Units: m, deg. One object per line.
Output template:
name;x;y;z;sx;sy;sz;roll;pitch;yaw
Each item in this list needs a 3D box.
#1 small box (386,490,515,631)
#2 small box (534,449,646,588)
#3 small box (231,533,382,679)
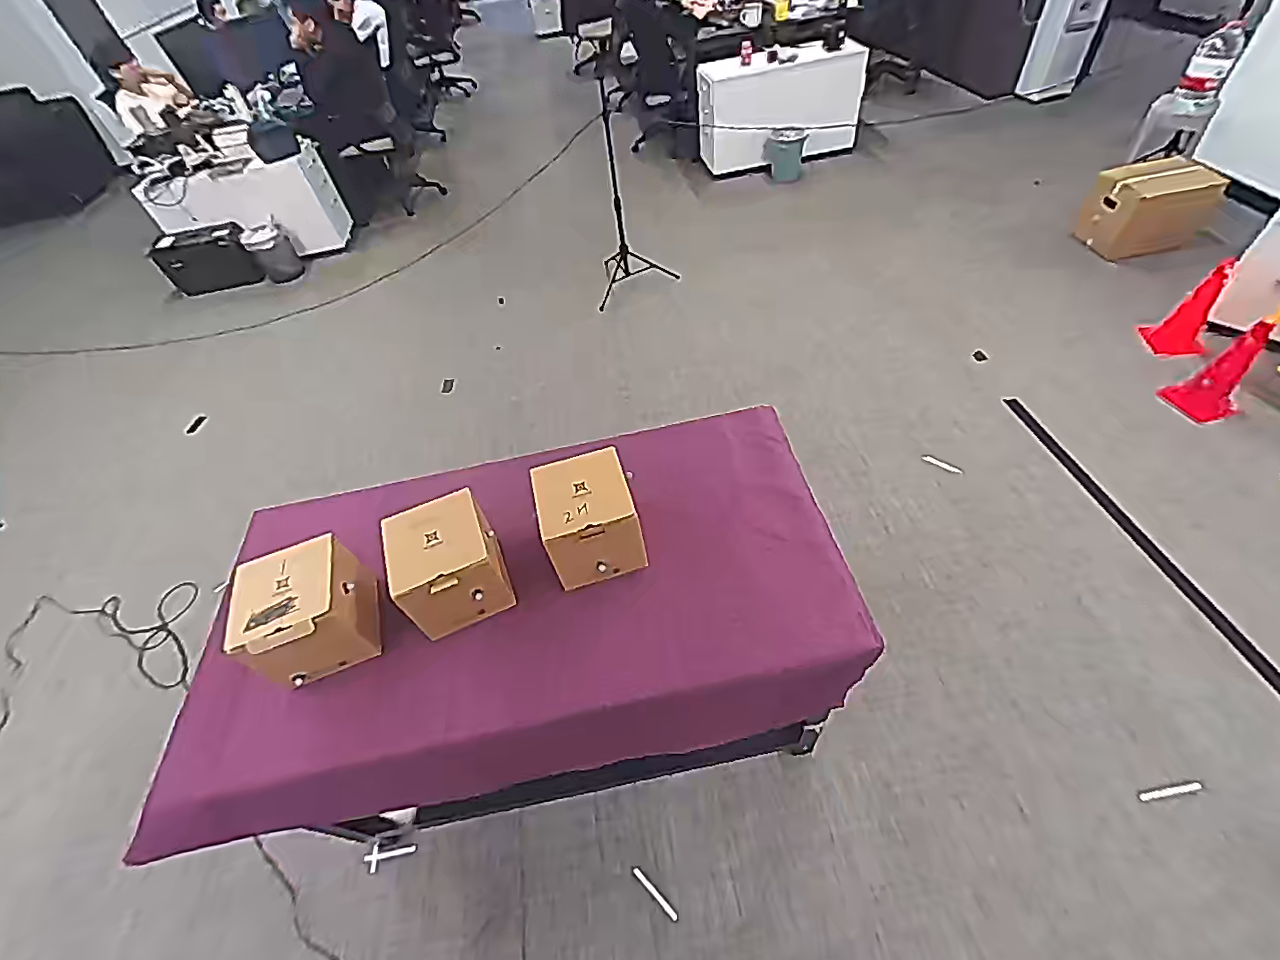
small box;-0.344;0.155;0.998;0.168;0.176;0.179;-21;50;-10
small box;-0.093;0.074;1.024;0.168;0.176;0.179;-16;50;-4
small box;-0.581;0.232;0.966;0.168;0.176;0.179;-20;49;-9
